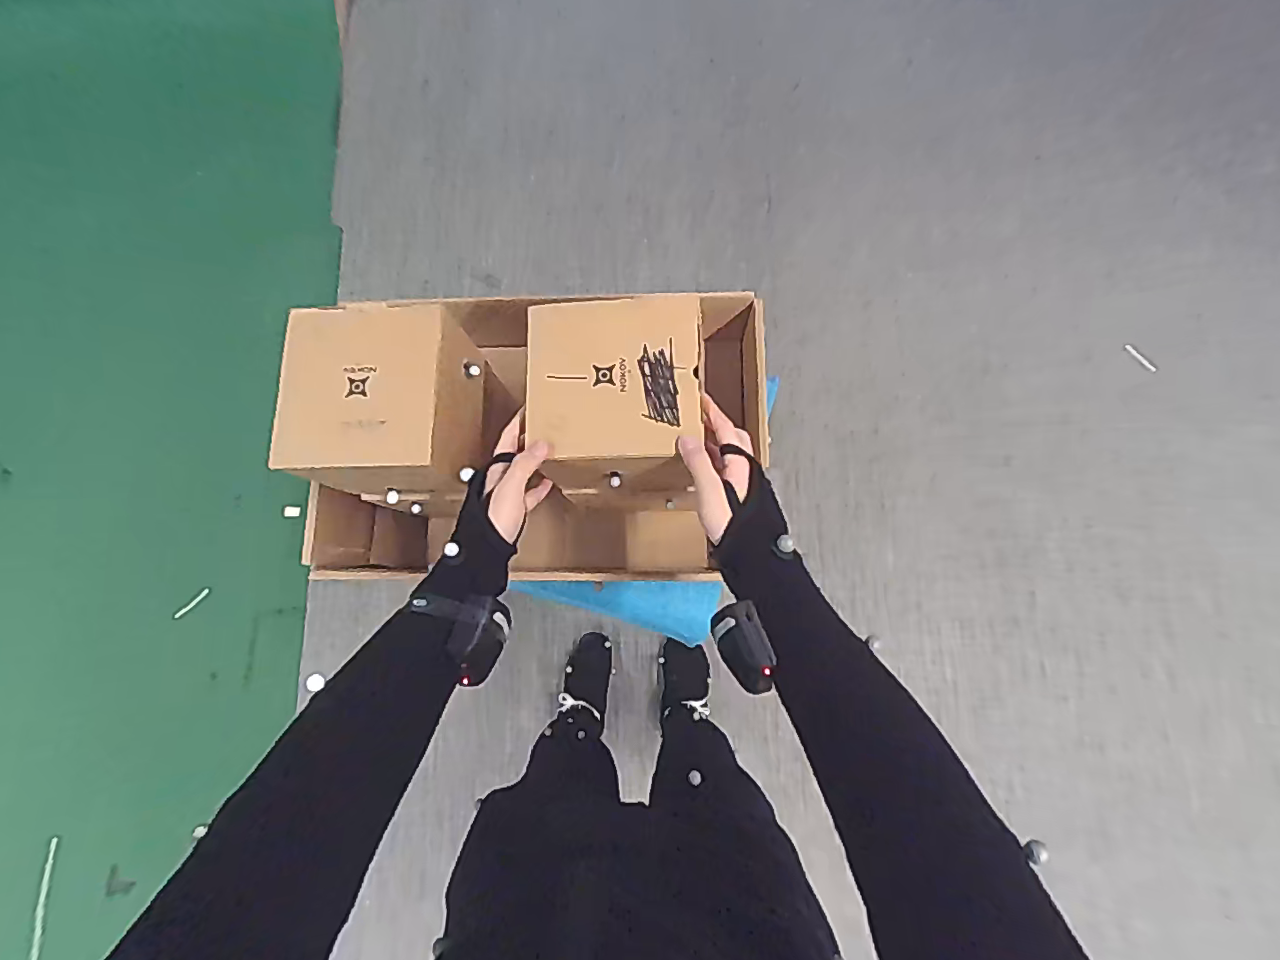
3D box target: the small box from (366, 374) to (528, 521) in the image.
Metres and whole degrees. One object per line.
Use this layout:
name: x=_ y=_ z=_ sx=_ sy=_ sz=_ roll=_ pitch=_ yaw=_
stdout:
small box: x=-0.267 y=-0.040 z=0.789 sx=0.168 sy=0.176 sz=0.179 roll=-1 pitch=78 yaw=4

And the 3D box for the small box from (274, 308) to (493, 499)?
small box: x=-0.279 y=-0.079 z=0.631 sx=0.168 sy=0.176 sz=0.179 roll=0 pitch=78 yaw=3
